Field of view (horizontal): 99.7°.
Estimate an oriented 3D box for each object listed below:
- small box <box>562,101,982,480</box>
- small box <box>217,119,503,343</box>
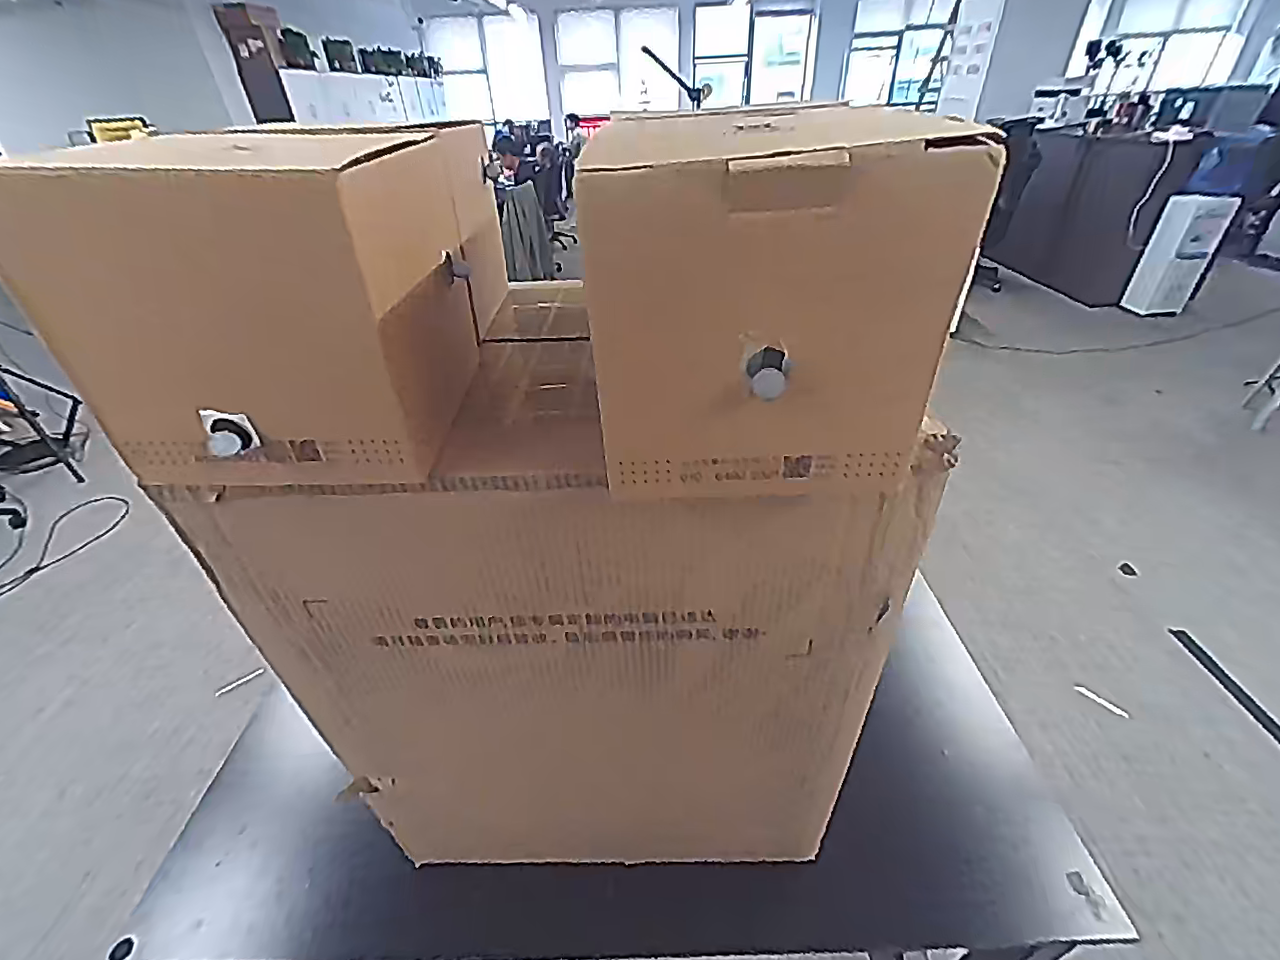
[{"bbox_3d":[0.058,-0.111,0.321,0.168,0.176,0.179,-2,37,3],"label":"small box"},{"bbox_3d":[-0.234,-0.238,0.512,0.168,0.176,0.179,-3,34,-1],"label":"small box"}]
